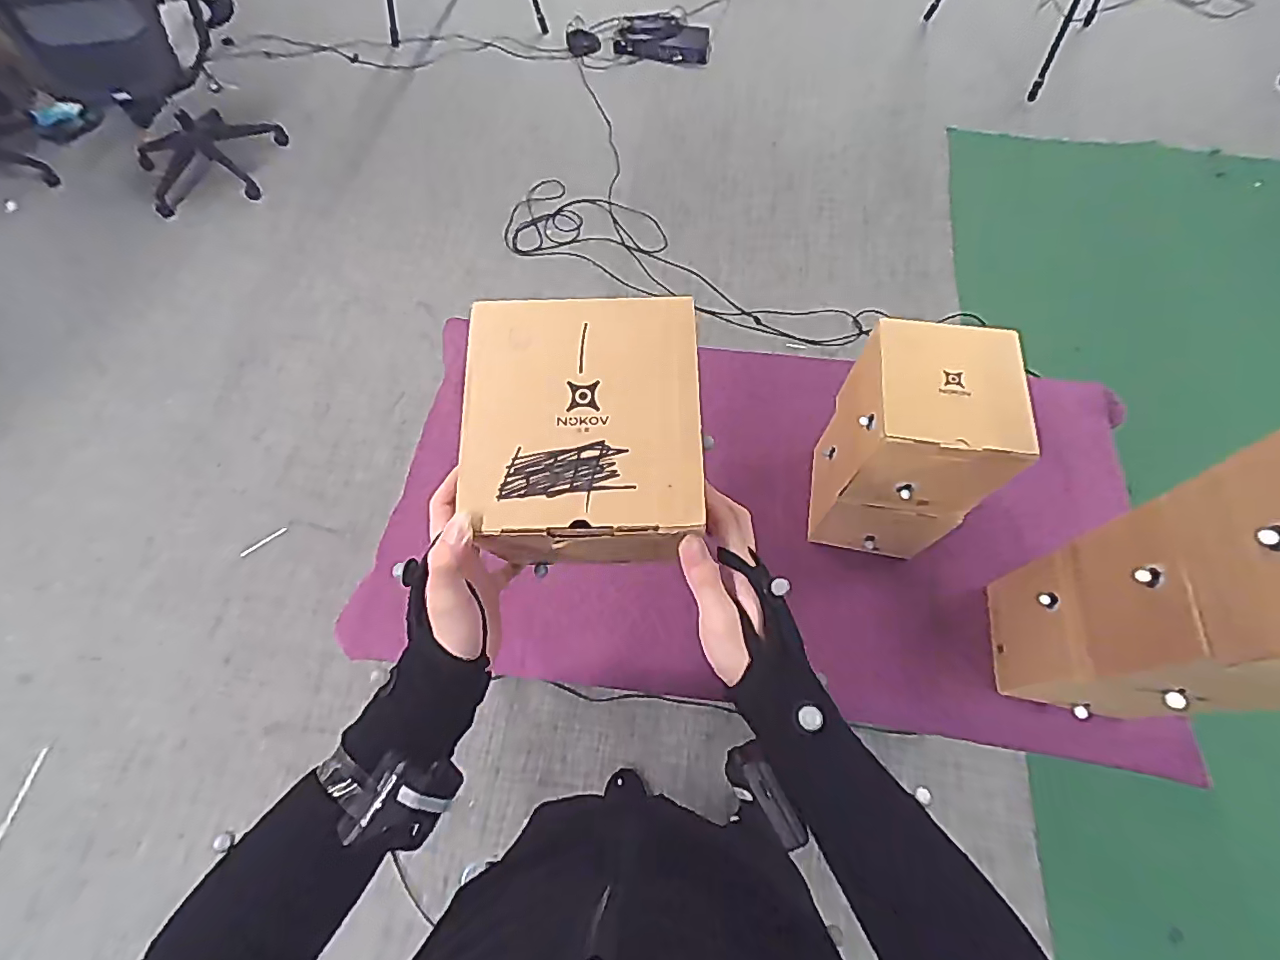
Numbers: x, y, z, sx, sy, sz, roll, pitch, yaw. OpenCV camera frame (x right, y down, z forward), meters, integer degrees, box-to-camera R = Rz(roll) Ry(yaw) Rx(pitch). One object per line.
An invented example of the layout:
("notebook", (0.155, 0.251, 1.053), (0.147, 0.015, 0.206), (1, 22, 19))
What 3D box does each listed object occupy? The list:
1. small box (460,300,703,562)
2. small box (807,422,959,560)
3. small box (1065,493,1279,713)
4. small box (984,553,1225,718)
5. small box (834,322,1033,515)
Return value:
("small box", (-0.038, -0.026, 0.454), (0.168, 0.176, 0.179), (-1, 73, 0))
("small box", (0.366, 0.005, 0.839), (0.168, 0.176, 0.179), (10, 64, 7))
("small box", (0.604, 0.139, 0.586), (0.168, 0.176, 0.179), (10, 64, 8))
("small box", (0.604, 0.217, 0.731), (0.179, 0.176, 0.168), (10, 63, 7))
("small box", (0.358, -0.072, 0.697), (0.168, 0.176, 0.179), (8, 65, 4))
